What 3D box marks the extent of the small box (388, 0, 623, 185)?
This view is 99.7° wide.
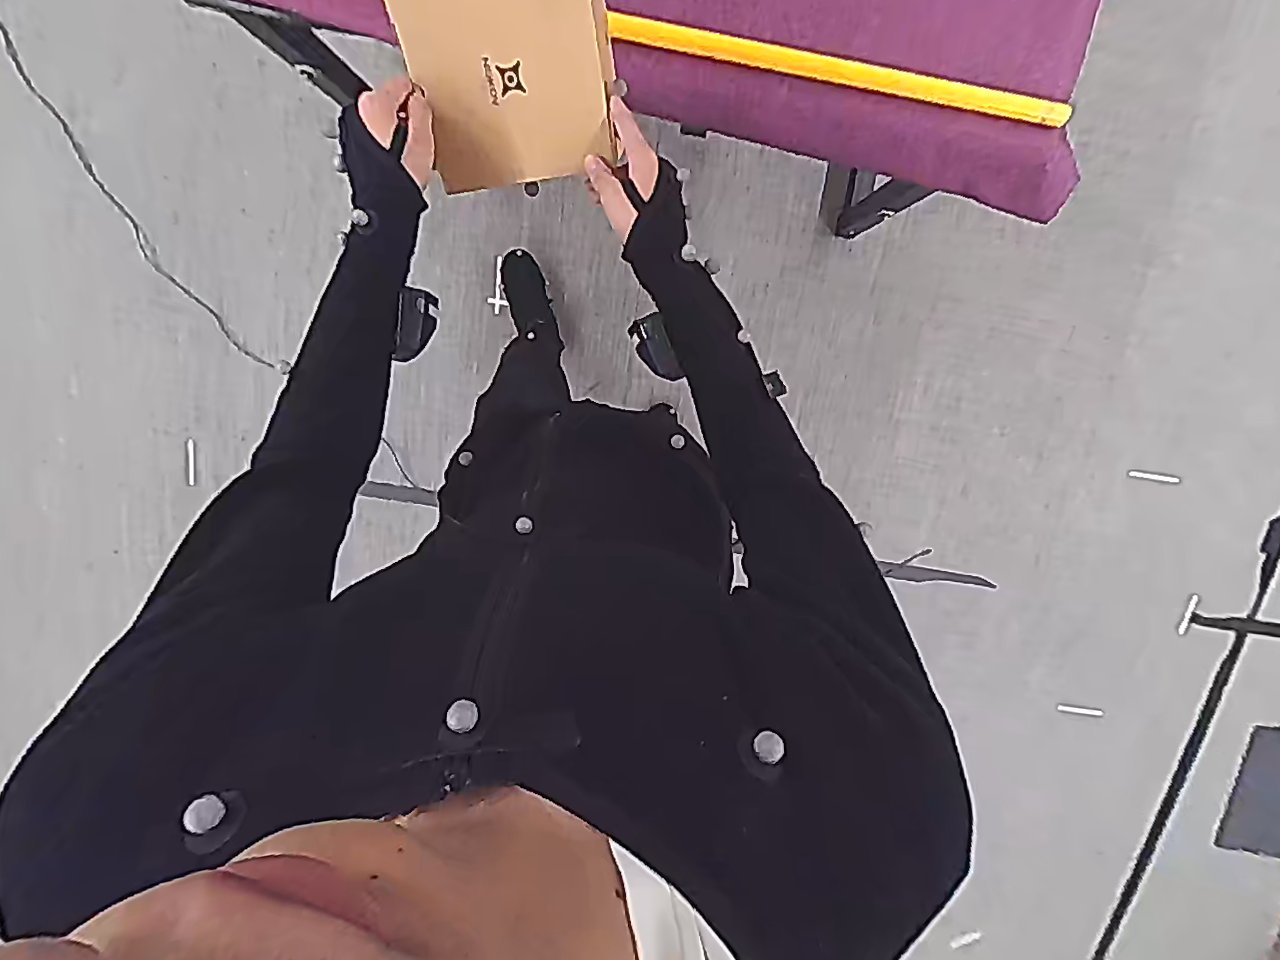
[{"bbox_3d":[-0.114,-0.412,0.540,0.179,0.176,0.168,-4,128,7],"label":"small box"}]
